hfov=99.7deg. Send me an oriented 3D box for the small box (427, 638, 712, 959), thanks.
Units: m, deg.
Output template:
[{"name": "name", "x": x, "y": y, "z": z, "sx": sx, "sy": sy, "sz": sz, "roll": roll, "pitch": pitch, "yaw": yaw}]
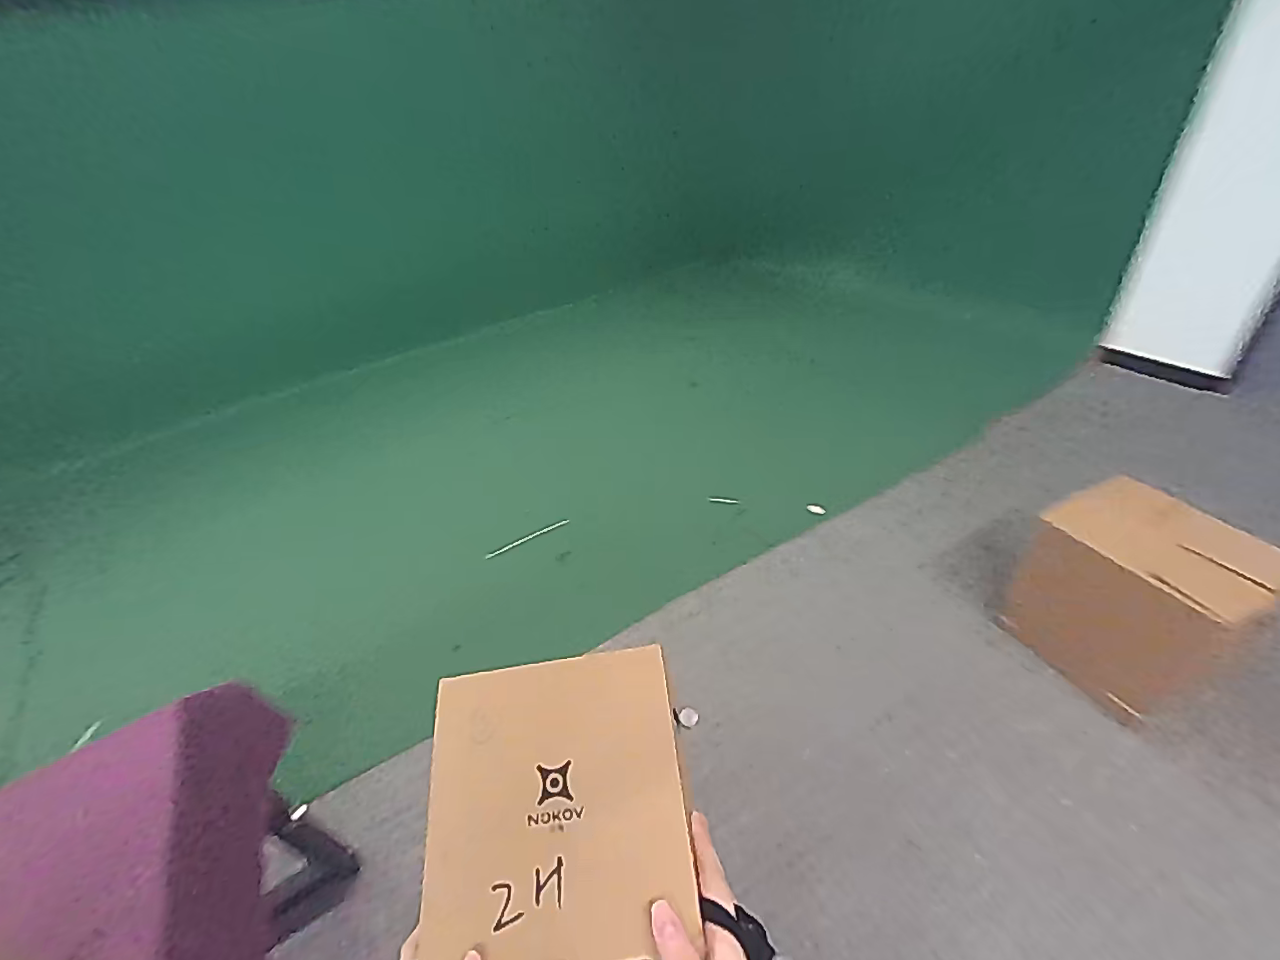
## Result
[{"name": "small box", "x": -0.039, "y": 0.242, "z": 0.418, "sx": 0.168, "sy": 0.176, "sz": 0.179, "roll": -9, "pitch": 56, "yaw": 3}]
